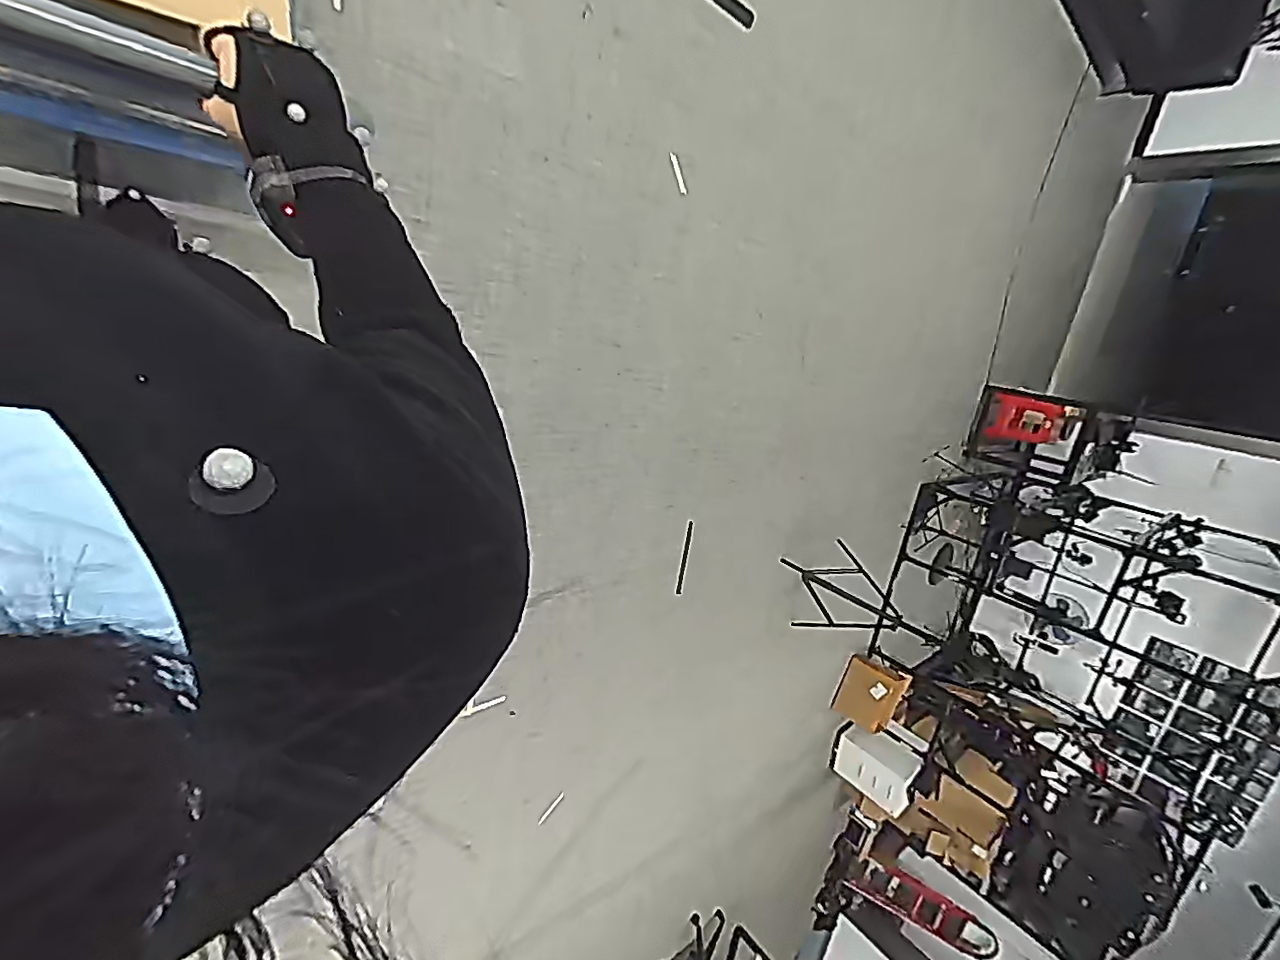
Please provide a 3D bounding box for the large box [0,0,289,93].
[{"bbox_3d":[-0.723,-0.752,0.680,0.408,0.320,0.320,-11,115,-41],"label":"large box"}]
